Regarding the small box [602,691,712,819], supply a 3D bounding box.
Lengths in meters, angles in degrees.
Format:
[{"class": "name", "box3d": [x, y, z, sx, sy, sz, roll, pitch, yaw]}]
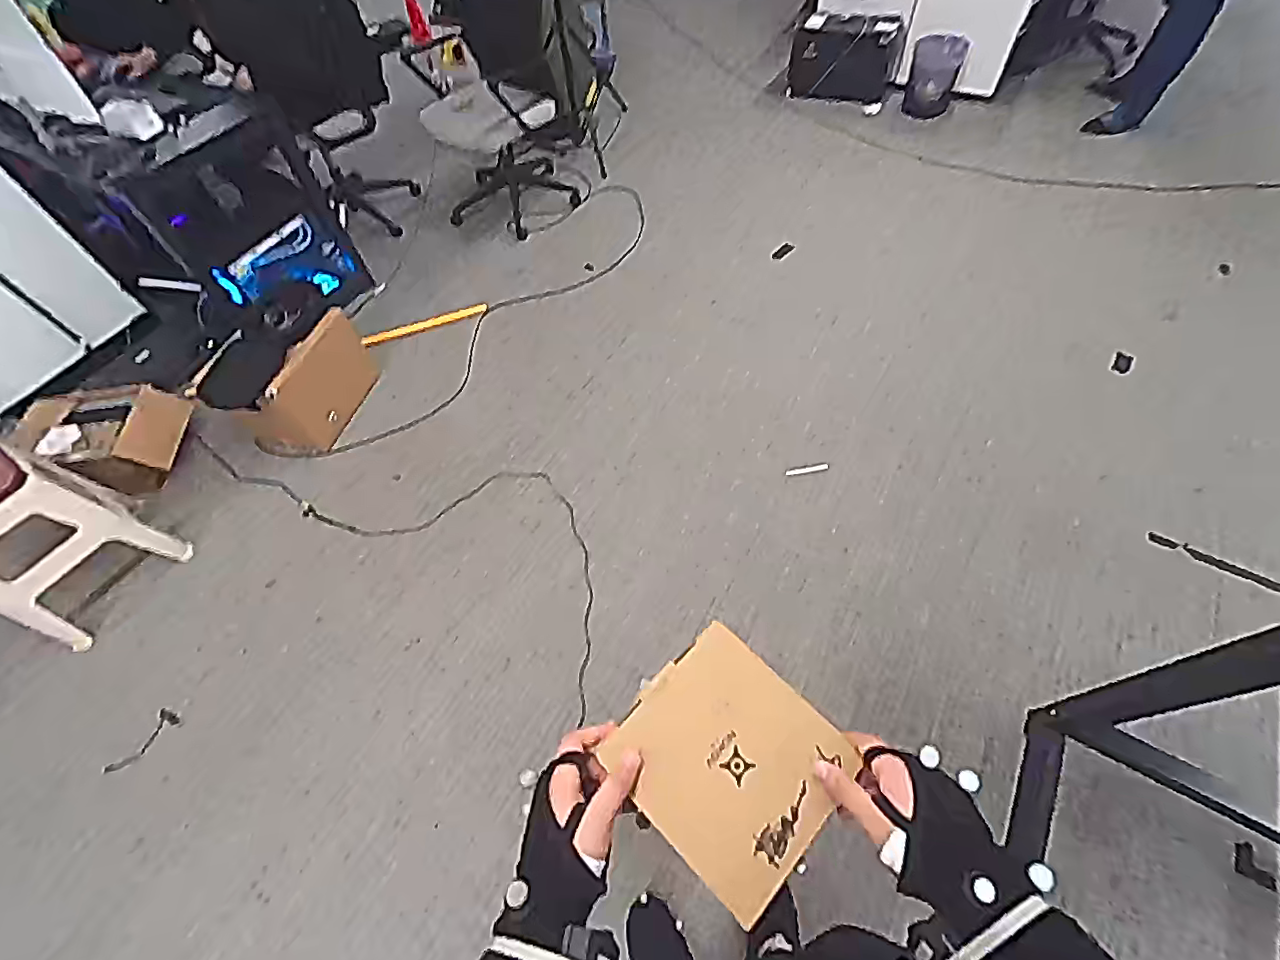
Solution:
[{"class": "small box", "box3d": [0.039, 0.565, 1.103, 0.168, 0.176, 0.179, 19, 59, 15]}]

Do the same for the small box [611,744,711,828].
[{"class": "small box", "box3d": [0.050, 0.660, 1.233, 0.168, 0.176, 0.179, 22, 62, 18]}]
